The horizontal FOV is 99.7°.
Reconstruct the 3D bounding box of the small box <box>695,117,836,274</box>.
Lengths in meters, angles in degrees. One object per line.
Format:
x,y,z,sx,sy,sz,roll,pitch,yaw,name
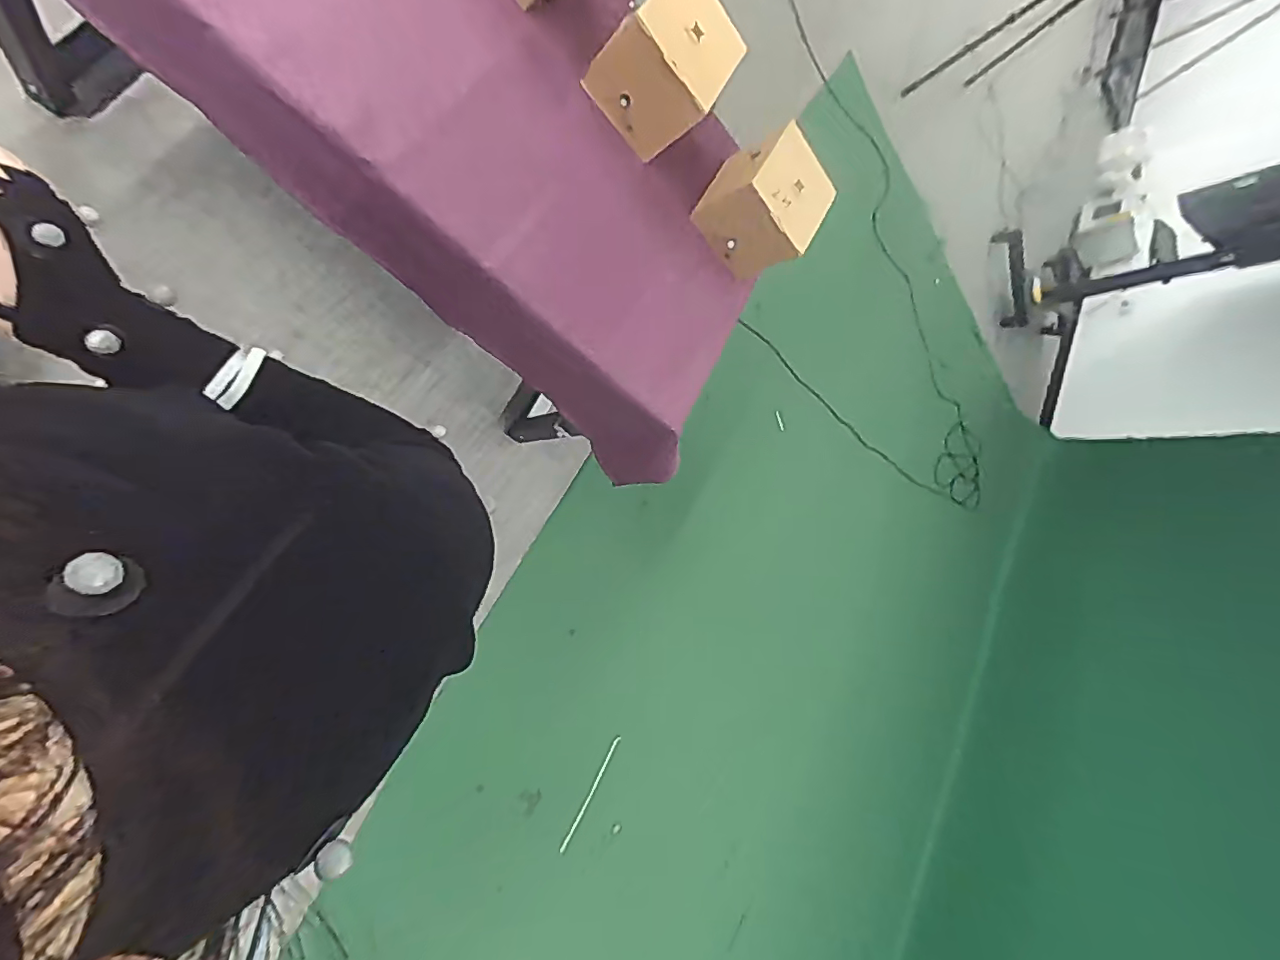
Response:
0.235,-0.532,1.033,0.168,0.176,0.179,40,71,-28,small box

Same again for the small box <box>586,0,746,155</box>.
0.038,-0.693,0.896,0.168,0.176,0.179,38,71,-30,small box
